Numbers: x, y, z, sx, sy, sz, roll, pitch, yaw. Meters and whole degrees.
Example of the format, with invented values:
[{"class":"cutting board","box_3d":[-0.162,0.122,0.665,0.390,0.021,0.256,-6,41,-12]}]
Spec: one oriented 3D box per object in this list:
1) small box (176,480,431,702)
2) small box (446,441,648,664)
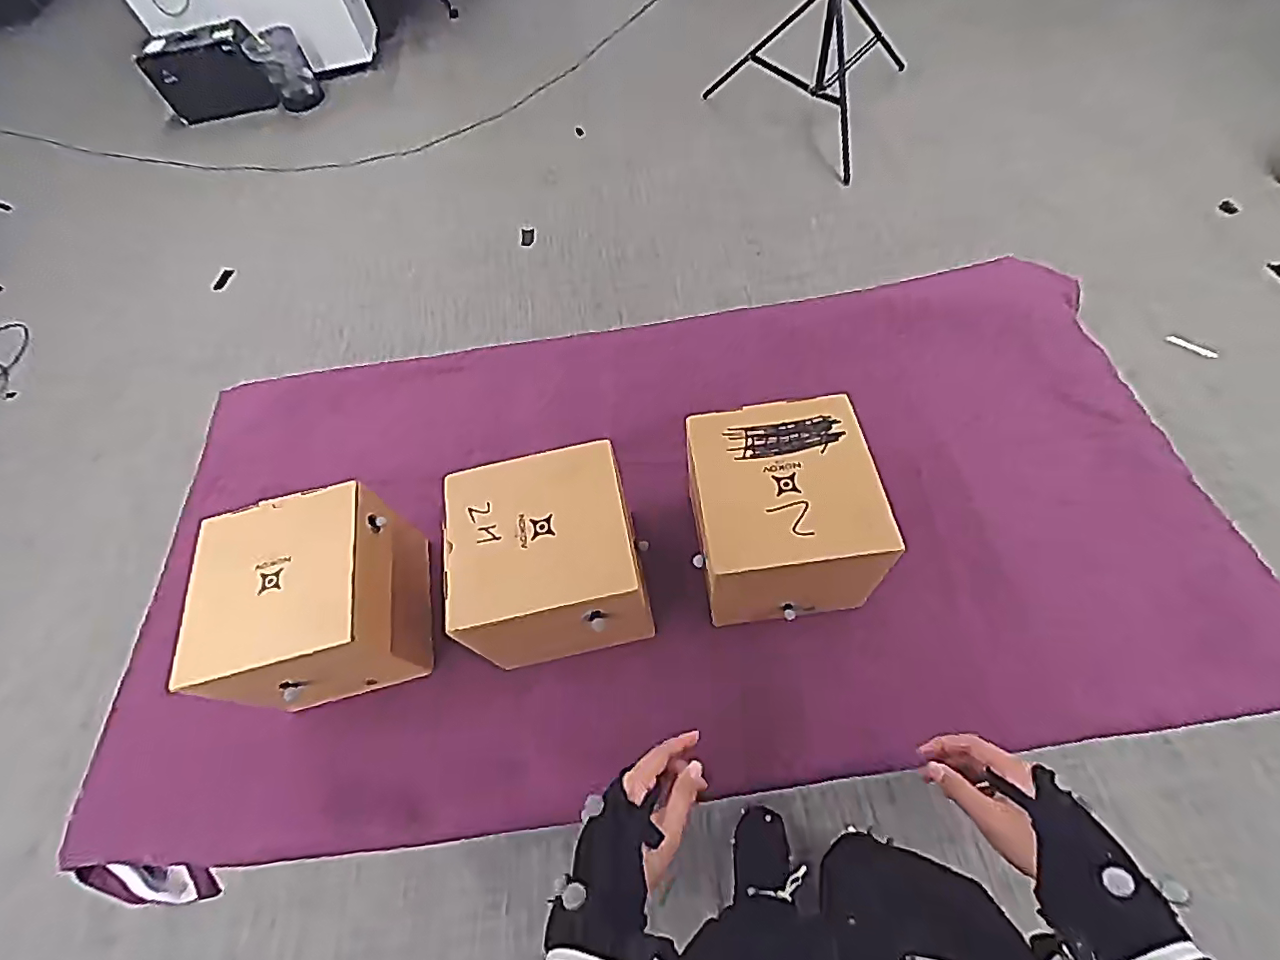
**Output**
[{"class":"small box","box_3d":[-0.343,0.131,0.590,0.168,0.176,0.179,-15,59,-2]},{"class":"small box","box_3d":[-0.091,0.085,0.581,0.179,0.176,0.168,-13,59,-1]}]
